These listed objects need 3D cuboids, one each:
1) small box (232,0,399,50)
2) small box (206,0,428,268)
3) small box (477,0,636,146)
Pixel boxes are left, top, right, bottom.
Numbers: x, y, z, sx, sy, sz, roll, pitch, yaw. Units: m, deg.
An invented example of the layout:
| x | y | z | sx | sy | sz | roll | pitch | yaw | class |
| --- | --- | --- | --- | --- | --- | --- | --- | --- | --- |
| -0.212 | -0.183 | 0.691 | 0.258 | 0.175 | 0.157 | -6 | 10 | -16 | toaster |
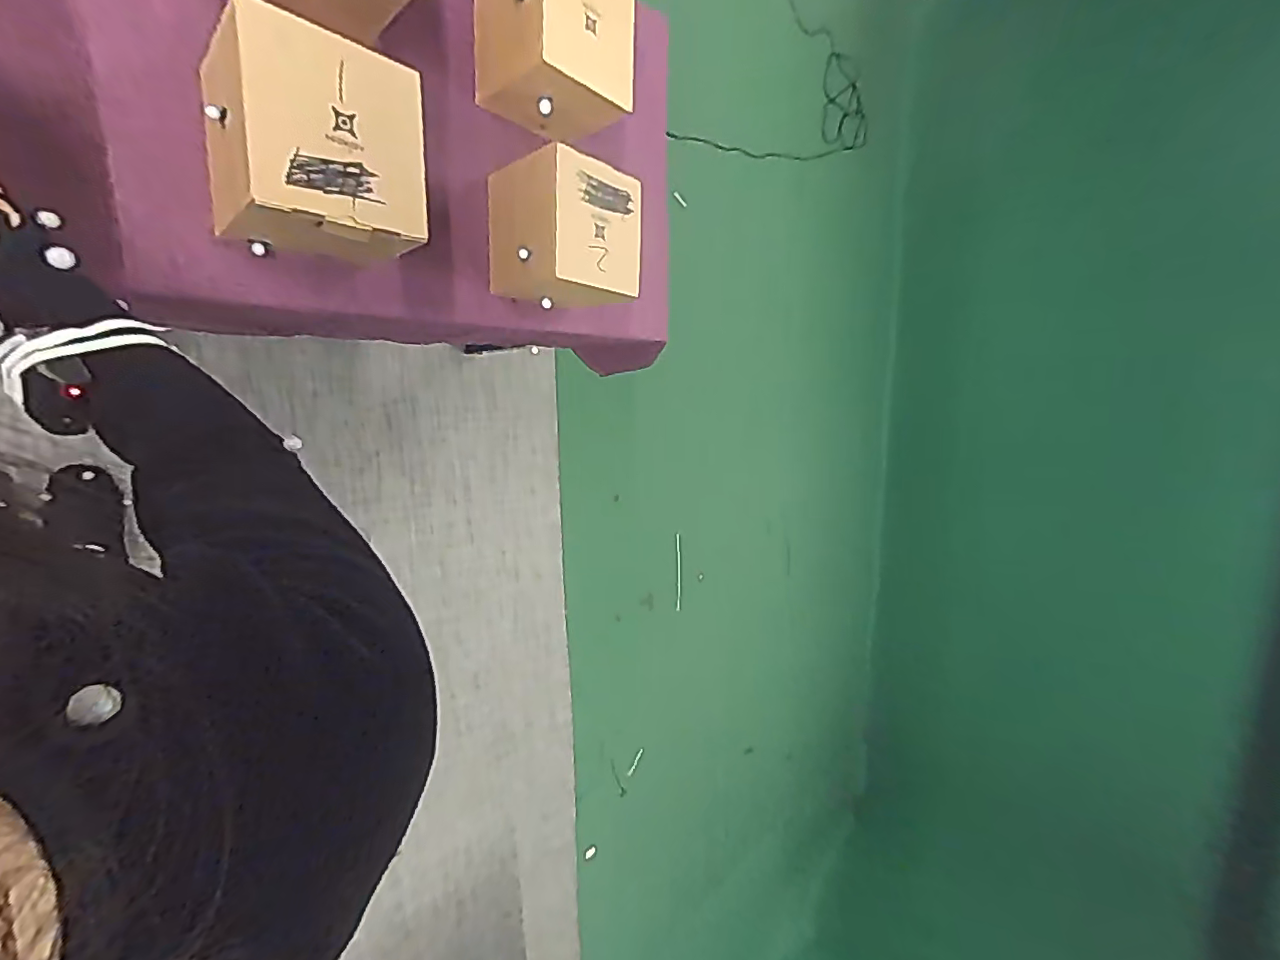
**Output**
| x | y | z | sx | sy | sz | roll | pitch | yaw | class |
| --- | --- | --- | --- | --- | --- | --- | --- | --- | --- |
| -0.351 | -0.592 | 0.554 | 0.179 | 0.176 | 0.168 | -6 | 100 | -46 | small box |
| -0.349 | -0.344 | 0.587 | 0.168 | 0.176 | 0.179 | -8 | 100 | -46 | small box |
| -0.123 | -0.626 | 0.788 | 0.168 | 0.176 | 0.179 | -6 | 99 | -45 | small box |
